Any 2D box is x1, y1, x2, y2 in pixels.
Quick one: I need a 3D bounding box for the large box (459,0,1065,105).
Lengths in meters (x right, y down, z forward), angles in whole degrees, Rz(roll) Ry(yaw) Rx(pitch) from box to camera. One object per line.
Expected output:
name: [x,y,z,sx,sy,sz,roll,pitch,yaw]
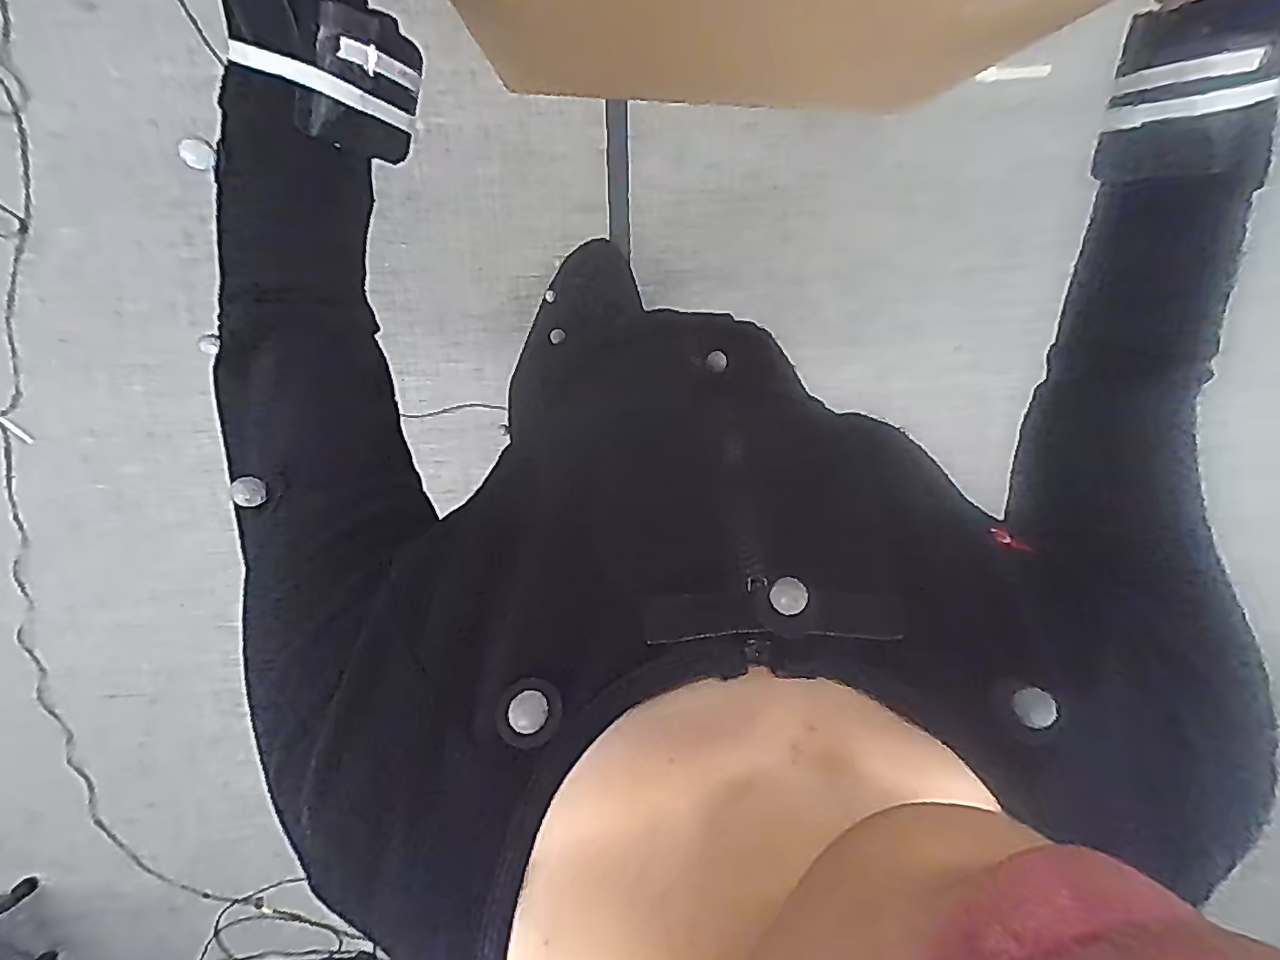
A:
large box: [0.075,-0.467,0.348,0.408,0.320,0.320,0,112,-3]
